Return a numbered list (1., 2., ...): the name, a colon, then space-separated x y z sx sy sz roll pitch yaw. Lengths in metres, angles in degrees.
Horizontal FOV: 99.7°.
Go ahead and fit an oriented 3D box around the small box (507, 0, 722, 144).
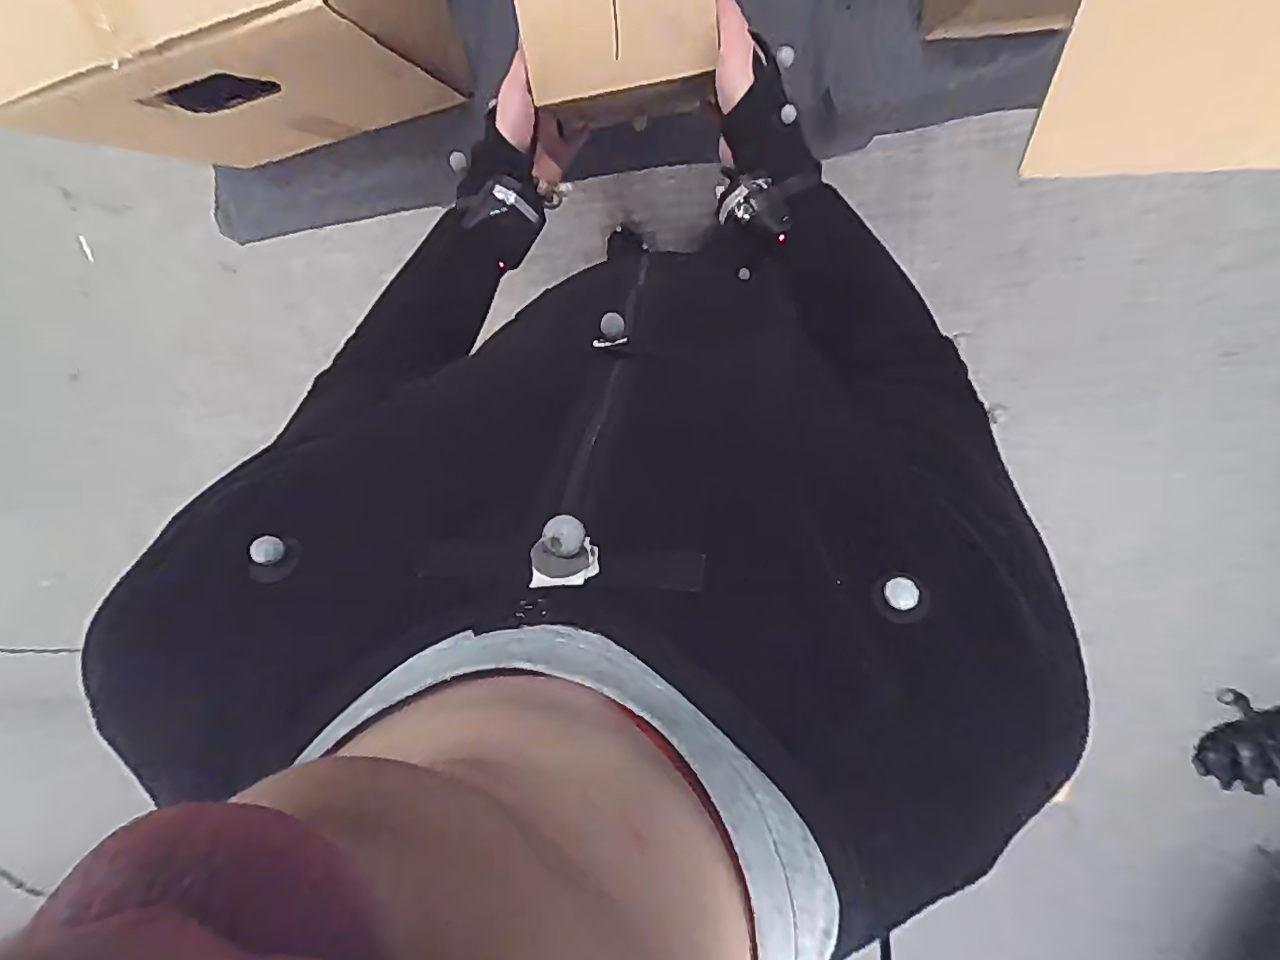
1. small box: -0.015 -0.420 0.484 0.168 0.176 0.179 -3 118 12
